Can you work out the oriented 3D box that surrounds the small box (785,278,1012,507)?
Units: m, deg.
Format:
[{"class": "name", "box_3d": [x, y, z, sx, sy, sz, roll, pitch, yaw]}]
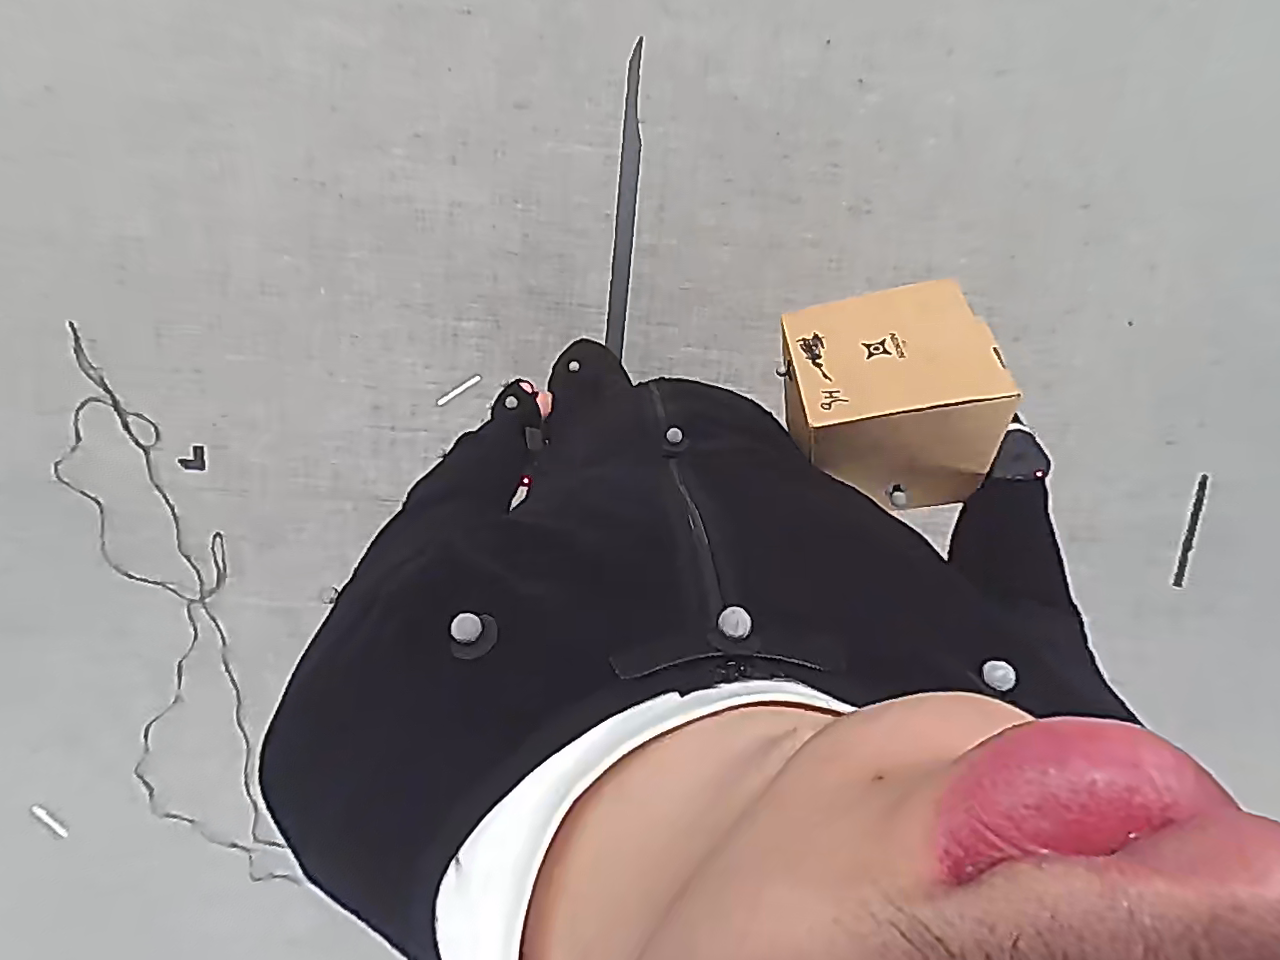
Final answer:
[{"class": "small box", "box_3d": [0.260, -0.088, 0.596, 0.179, 0.168, 0.176, -8, 143, 11]}]
